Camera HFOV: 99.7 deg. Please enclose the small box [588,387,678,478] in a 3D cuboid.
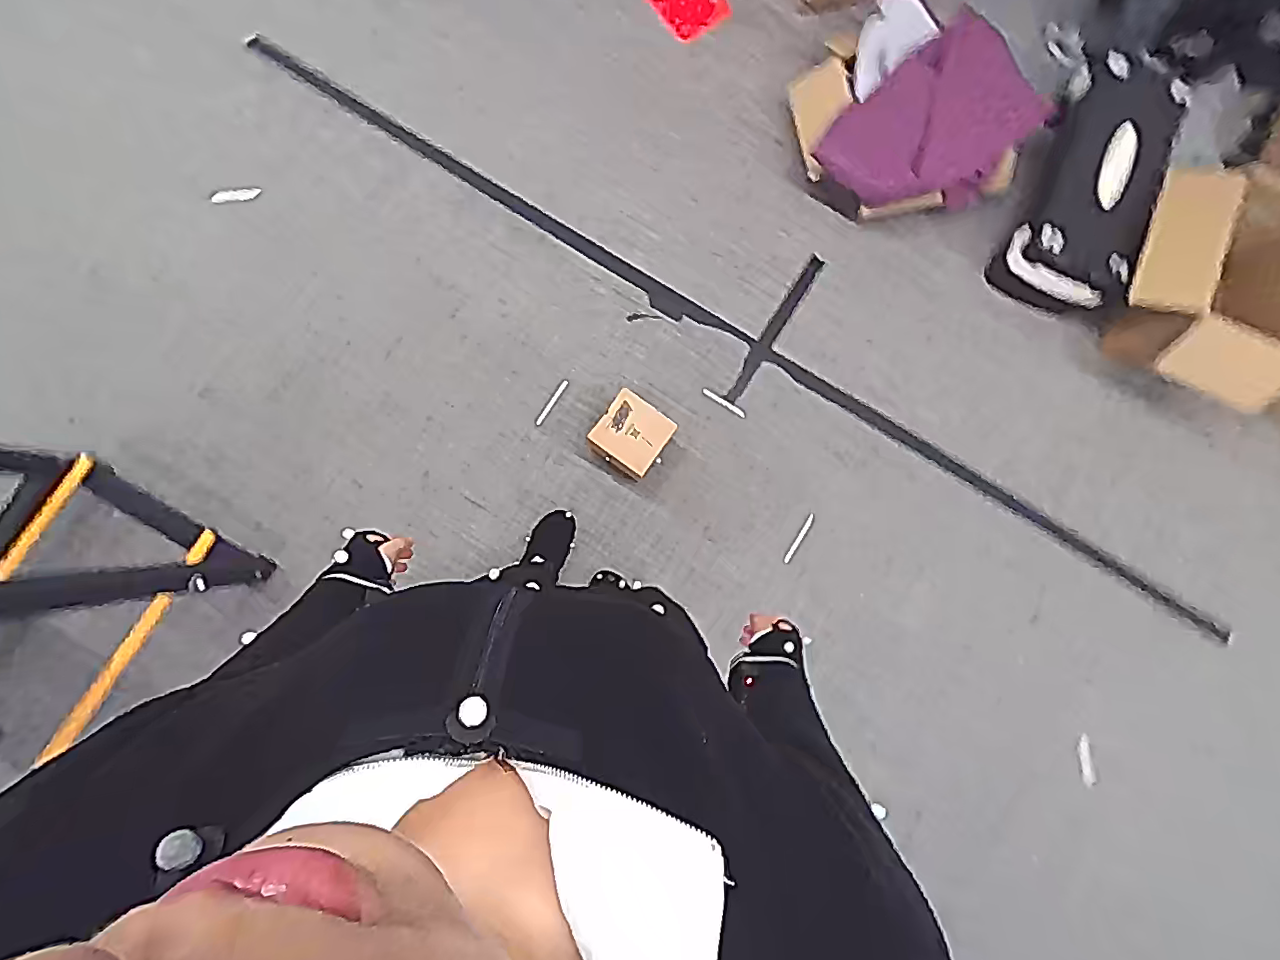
[{"bbox_3d":[-0.023,-0.118,1.456,0.179,0.176,0.168,36,84,0],"label":"small box"}]
